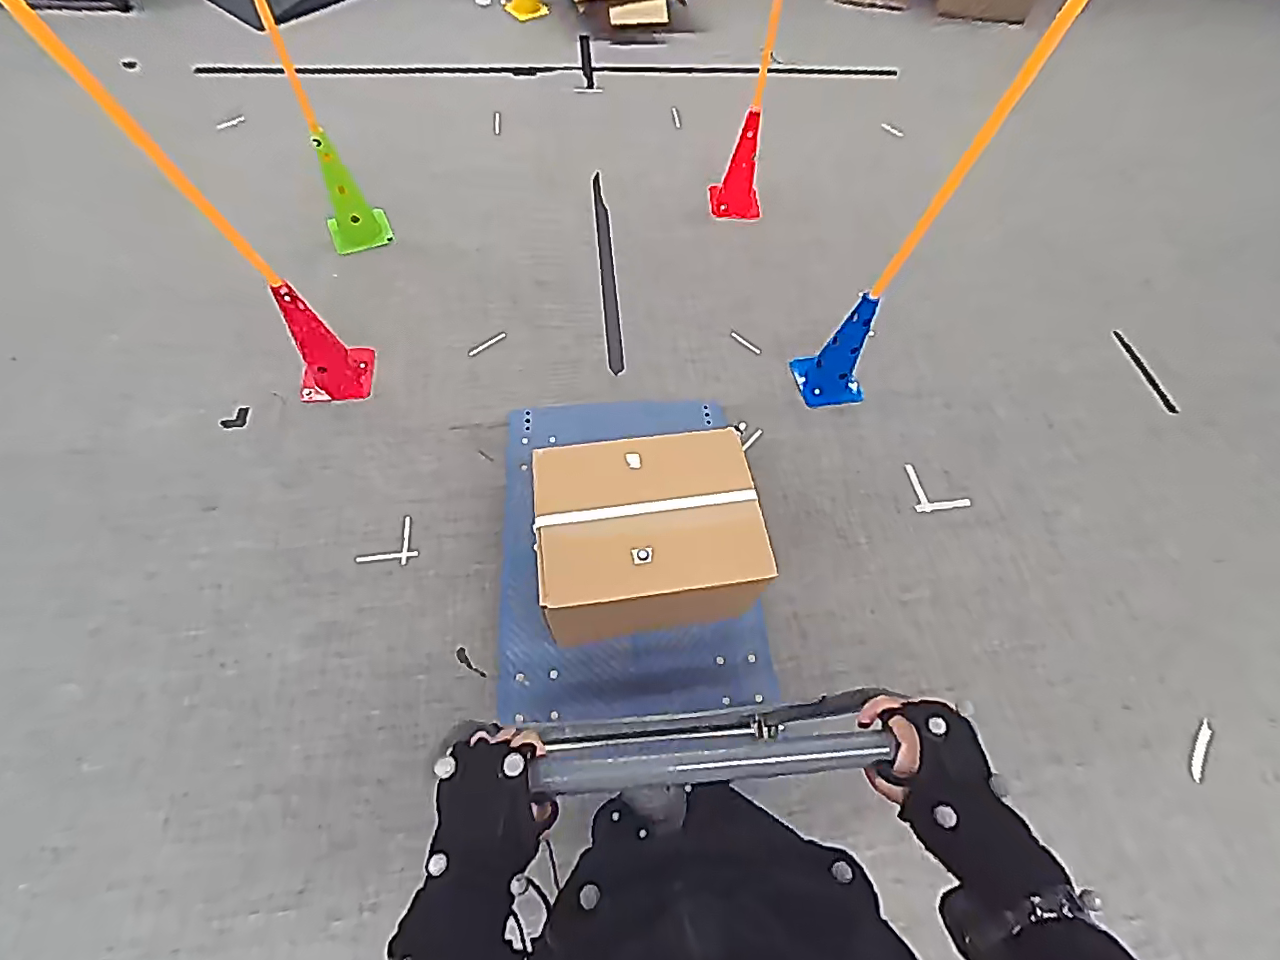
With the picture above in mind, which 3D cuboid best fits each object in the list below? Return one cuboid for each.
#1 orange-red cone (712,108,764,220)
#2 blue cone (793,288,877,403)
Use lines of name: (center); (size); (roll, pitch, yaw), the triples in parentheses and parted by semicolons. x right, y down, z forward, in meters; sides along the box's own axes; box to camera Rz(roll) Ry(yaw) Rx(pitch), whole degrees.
orange-red cone: (0.404, -1.203, 2.036); (0.199, 0.360, 0.198); (2, 62, -4)
blue cone: (0.626, -0.414, 1.640); (0.193, 0.380, 0.192); (-7, 61, -8)
